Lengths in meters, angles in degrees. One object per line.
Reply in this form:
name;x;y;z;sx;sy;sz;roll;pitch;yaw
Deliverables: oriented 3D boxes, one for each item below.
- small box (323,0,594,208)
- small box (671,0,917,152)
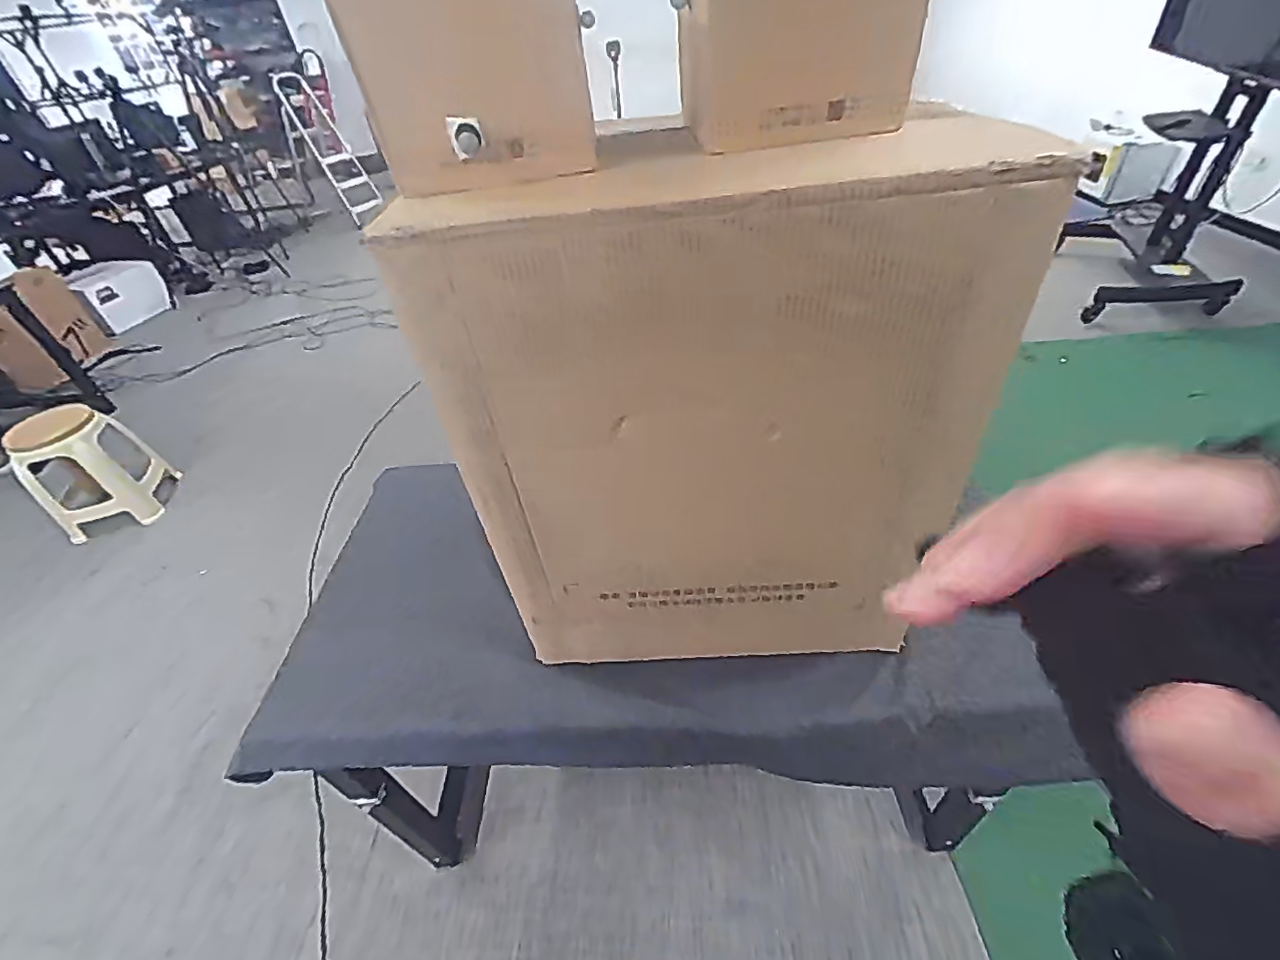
small box;-0.136;-0.352;0.457;0.168;0.176;0.179;-9;44;3
small box;0.115;-0.392;0.454;0.168;0.176;0.179;-8;43;1
